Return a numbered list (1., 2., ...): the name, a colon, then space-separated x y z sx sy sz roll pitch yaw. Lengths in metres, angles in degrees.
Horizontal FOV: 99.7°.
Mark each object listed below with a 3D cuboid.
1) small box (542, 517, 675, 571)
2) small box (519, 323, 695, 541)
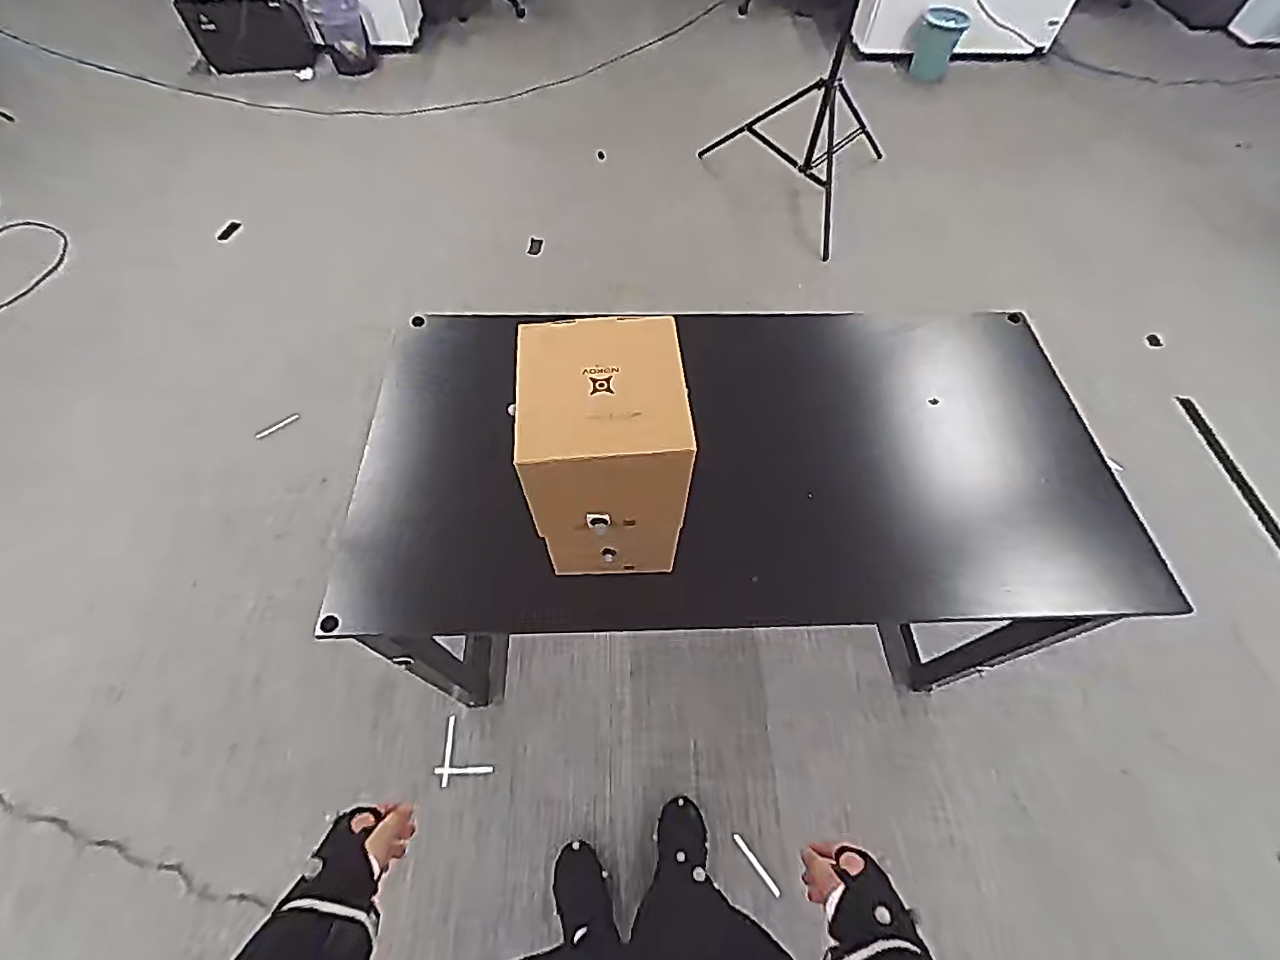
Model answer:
1. small box: -0.039 0.021 0.753 0.168 0.176 0.179 -1 59 -3
2. small box: -0.038 -0.049 0.605 0.168 0.176 0.179 -5 60 -3
